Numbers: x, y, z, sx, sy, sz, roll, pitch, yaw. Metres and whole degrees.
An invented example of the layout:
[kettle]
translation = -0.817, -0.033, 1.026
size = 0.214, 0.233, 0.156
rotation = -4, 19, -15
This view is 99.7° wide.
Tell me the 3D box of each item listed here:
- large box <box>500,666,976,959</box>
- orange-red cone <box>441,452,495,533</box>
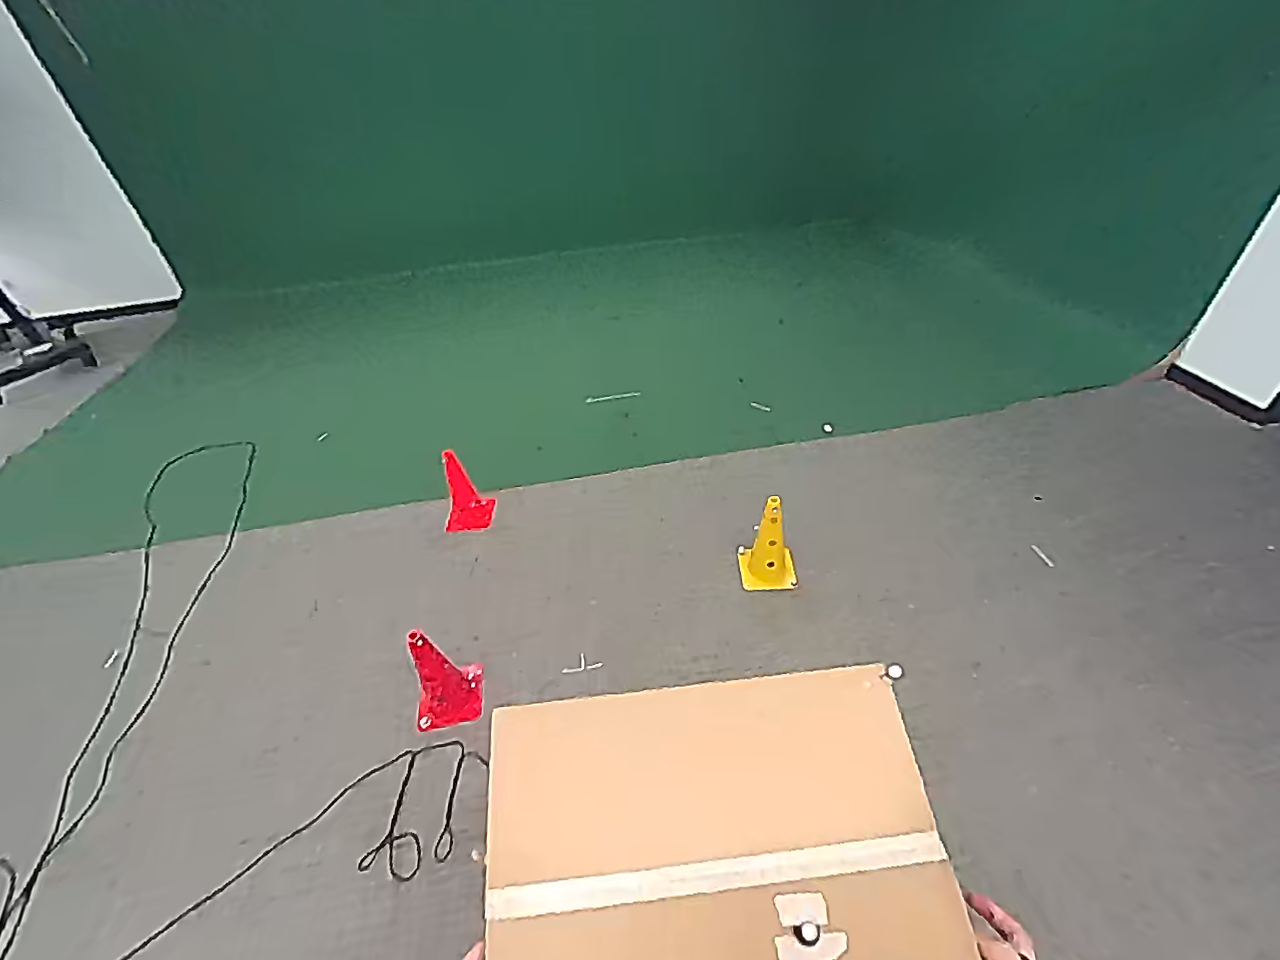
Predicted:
[large box]
translation = 0.075, 0.425, 0.612
size = 0.408, 0.320, 0.320
rotation = -6, 61, -3
[orange-red cone]
translation = -0.773, 0.032, 2.299
size = 0.199, 0.360, 0.198
rotation = -6, 40, 3
